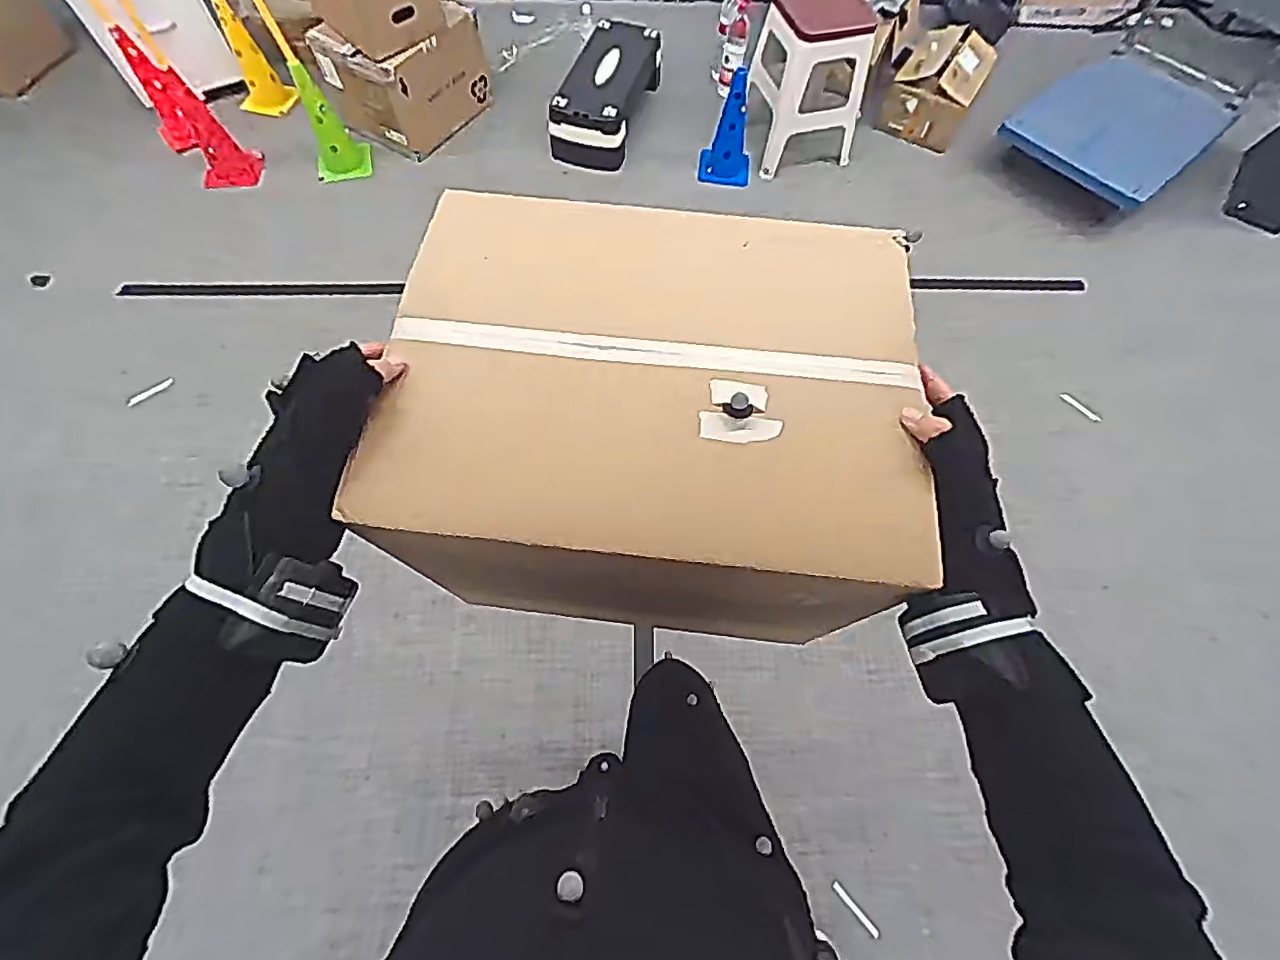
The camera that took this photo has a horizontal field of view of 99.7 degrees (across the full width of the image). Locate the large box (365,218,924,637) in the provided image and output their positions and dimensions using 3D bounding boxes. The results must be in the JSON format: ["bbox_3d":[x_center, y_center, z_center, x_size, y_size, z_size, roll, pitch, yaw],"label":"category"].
[{"bbox_3d":[0.011,-0.029,0.572,0.408,0.320,0.320,6,67,2],"label":"large box"}]
